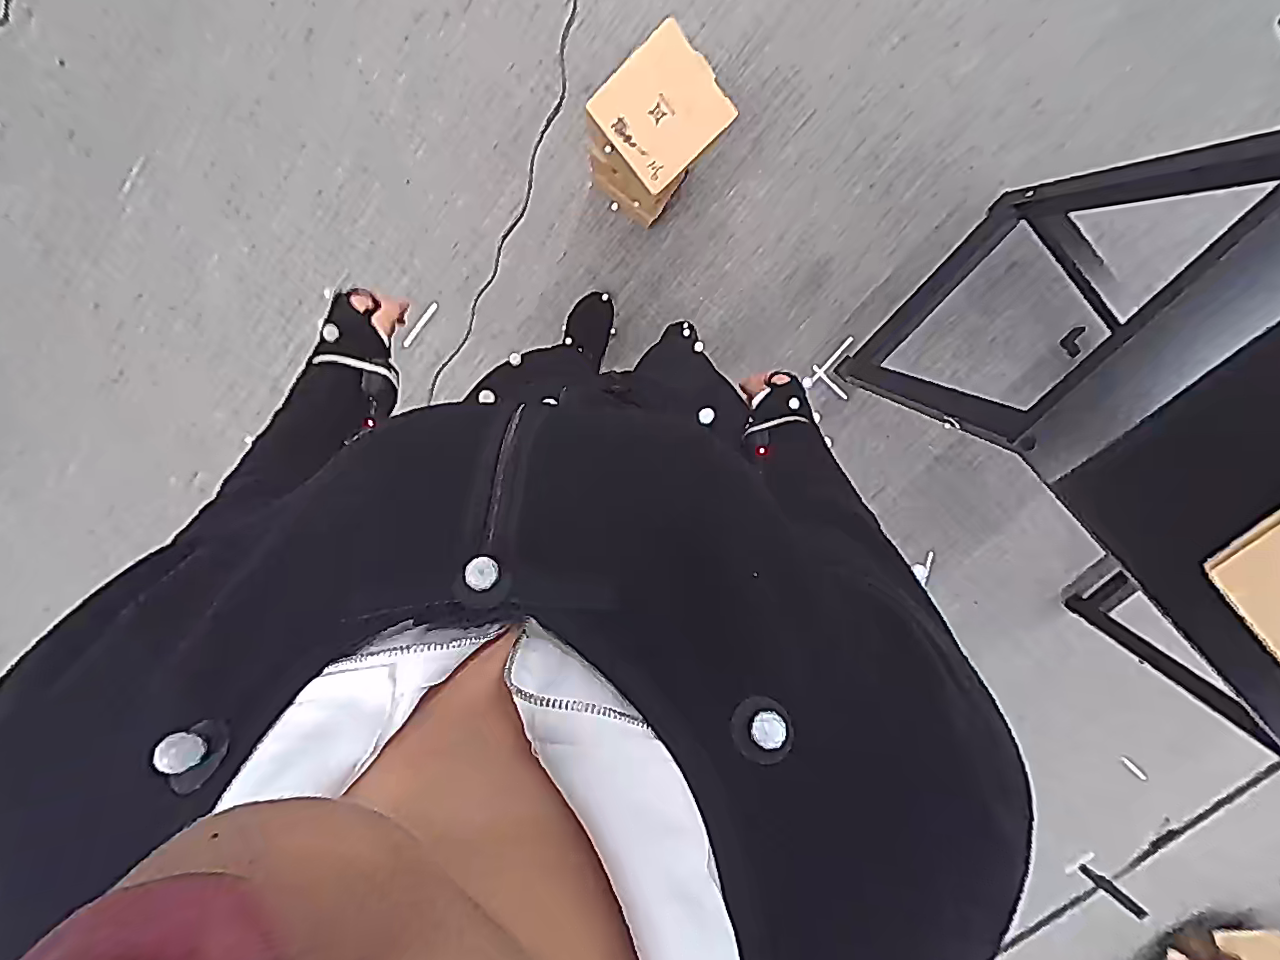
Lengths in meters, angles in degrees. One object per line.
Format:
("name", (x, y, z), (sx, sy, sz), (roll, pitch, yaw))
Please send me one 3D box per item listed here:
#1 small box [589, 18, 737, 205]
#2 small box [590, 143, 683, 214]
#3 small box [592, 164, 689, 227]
("small box", (0.029, -0.594, 0.901), (0.179, 0.176, 0.168), (-41, 107, 9))
("small box", (0.018, -0.650, 1.055), (0.168, 0.176, 0.179), (32, 103, -14))
("small box", (0.007, -0.698, 1.209), (0.168, 0.176, 0.179), (36, 105, -14))
